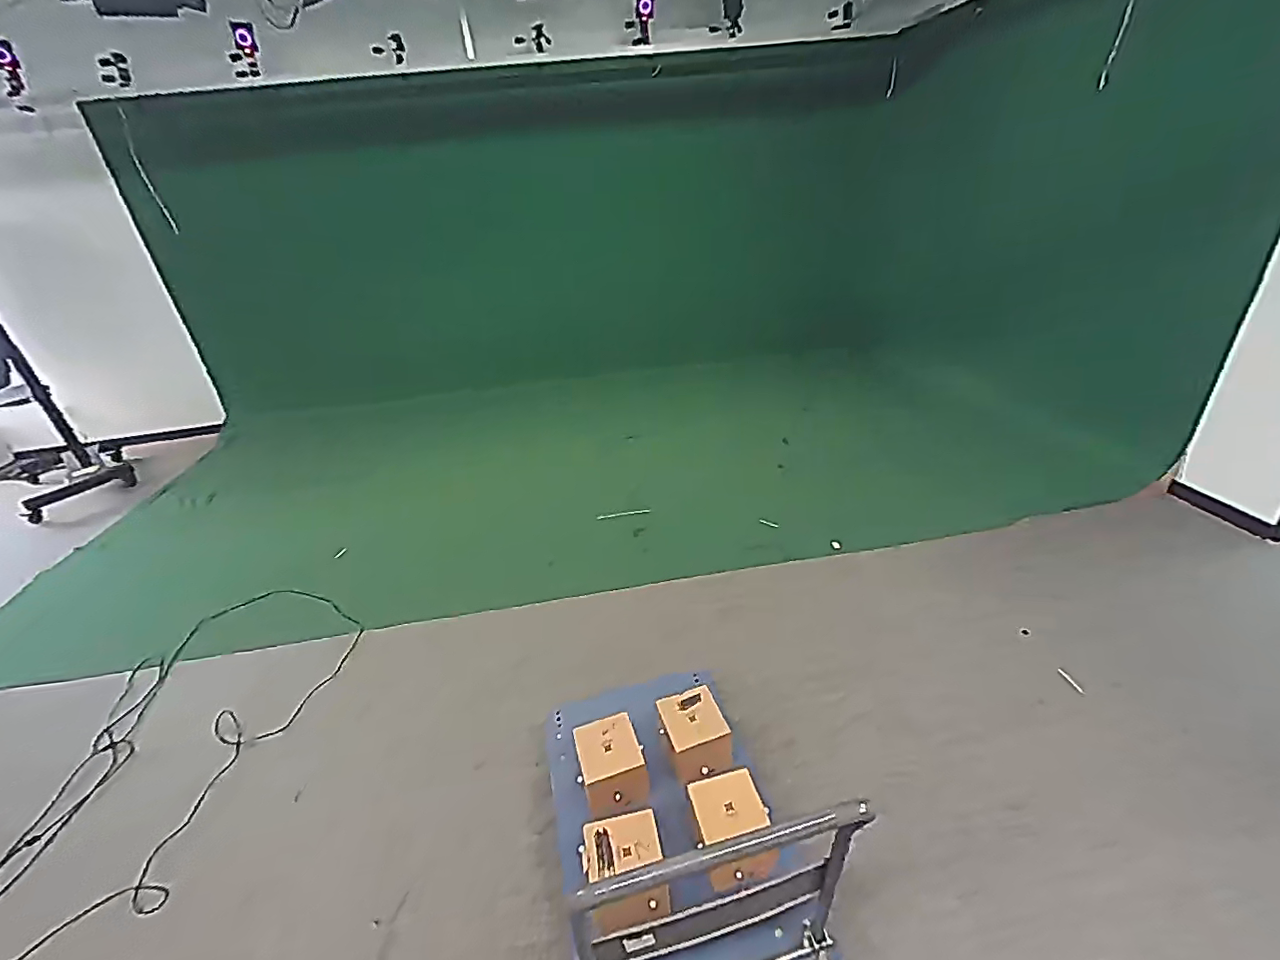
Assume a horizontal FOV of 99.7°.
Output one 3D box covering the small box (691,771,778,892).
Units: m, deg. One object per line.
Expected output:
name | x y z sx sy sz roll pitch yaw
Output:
small box | 0.229 0.875 1.350 0.168 0.176 0.179 -11 30 -10

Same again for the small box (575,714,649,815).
small box | -0.078 0.806 1.521 0.168 0.176 0.179 -12 30 -13

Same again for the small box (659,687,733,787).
small box | 0.161 0.749 1.580 0.168 0.176 0.179 -14 32 -13
